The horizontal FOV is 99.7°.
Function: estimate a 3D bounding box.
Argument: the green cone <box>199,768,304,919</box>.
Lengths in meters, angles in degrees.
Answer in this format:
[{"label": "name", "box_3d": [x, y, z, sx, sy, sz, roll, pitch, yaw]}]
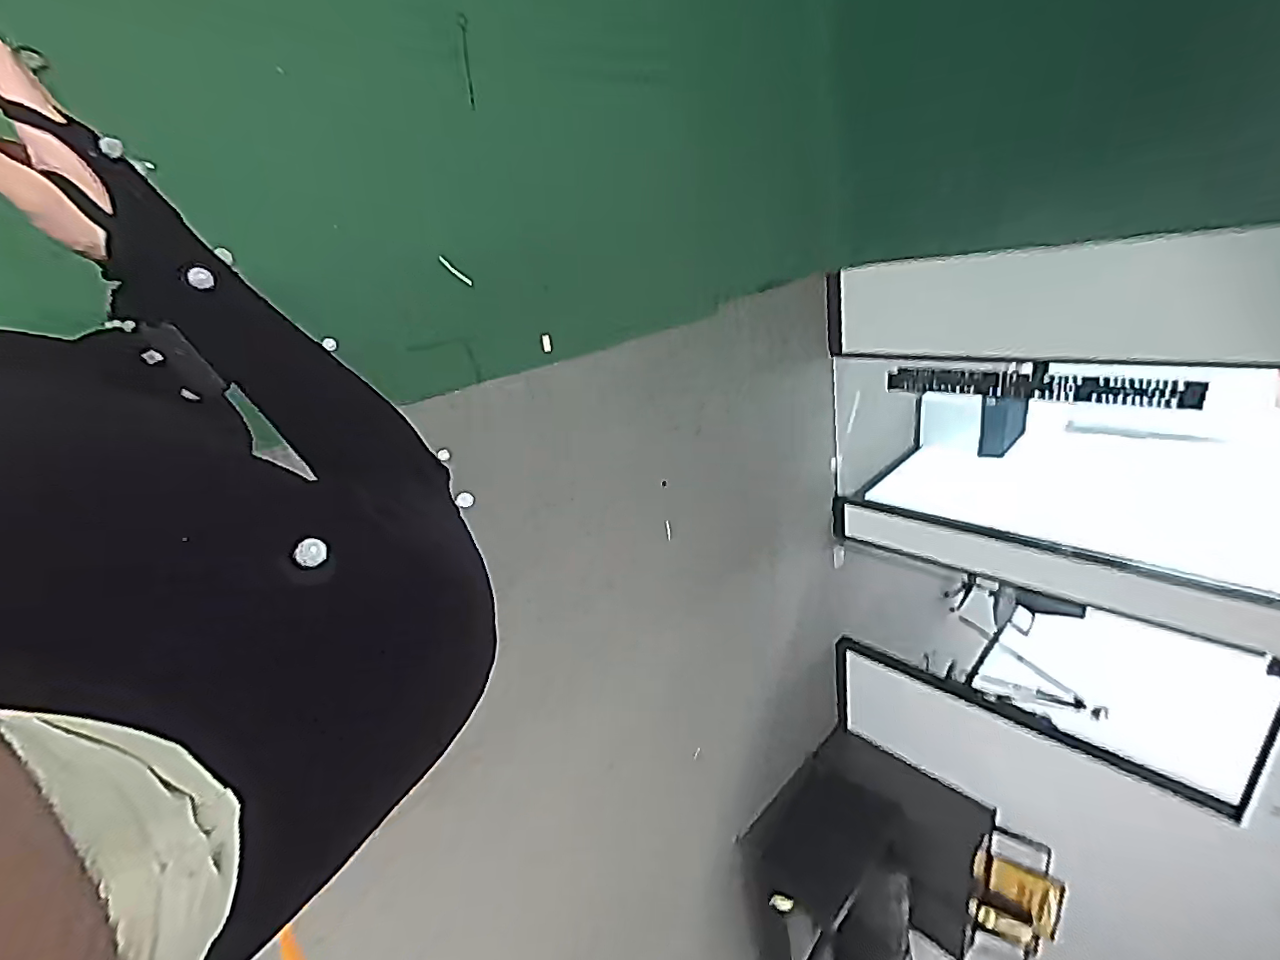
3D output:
[{"label": "green cone", "box_3d": [-0.966, 0.962, 1.386, 0.202, 0.368, 0.200, -25, 117, -35]}]
